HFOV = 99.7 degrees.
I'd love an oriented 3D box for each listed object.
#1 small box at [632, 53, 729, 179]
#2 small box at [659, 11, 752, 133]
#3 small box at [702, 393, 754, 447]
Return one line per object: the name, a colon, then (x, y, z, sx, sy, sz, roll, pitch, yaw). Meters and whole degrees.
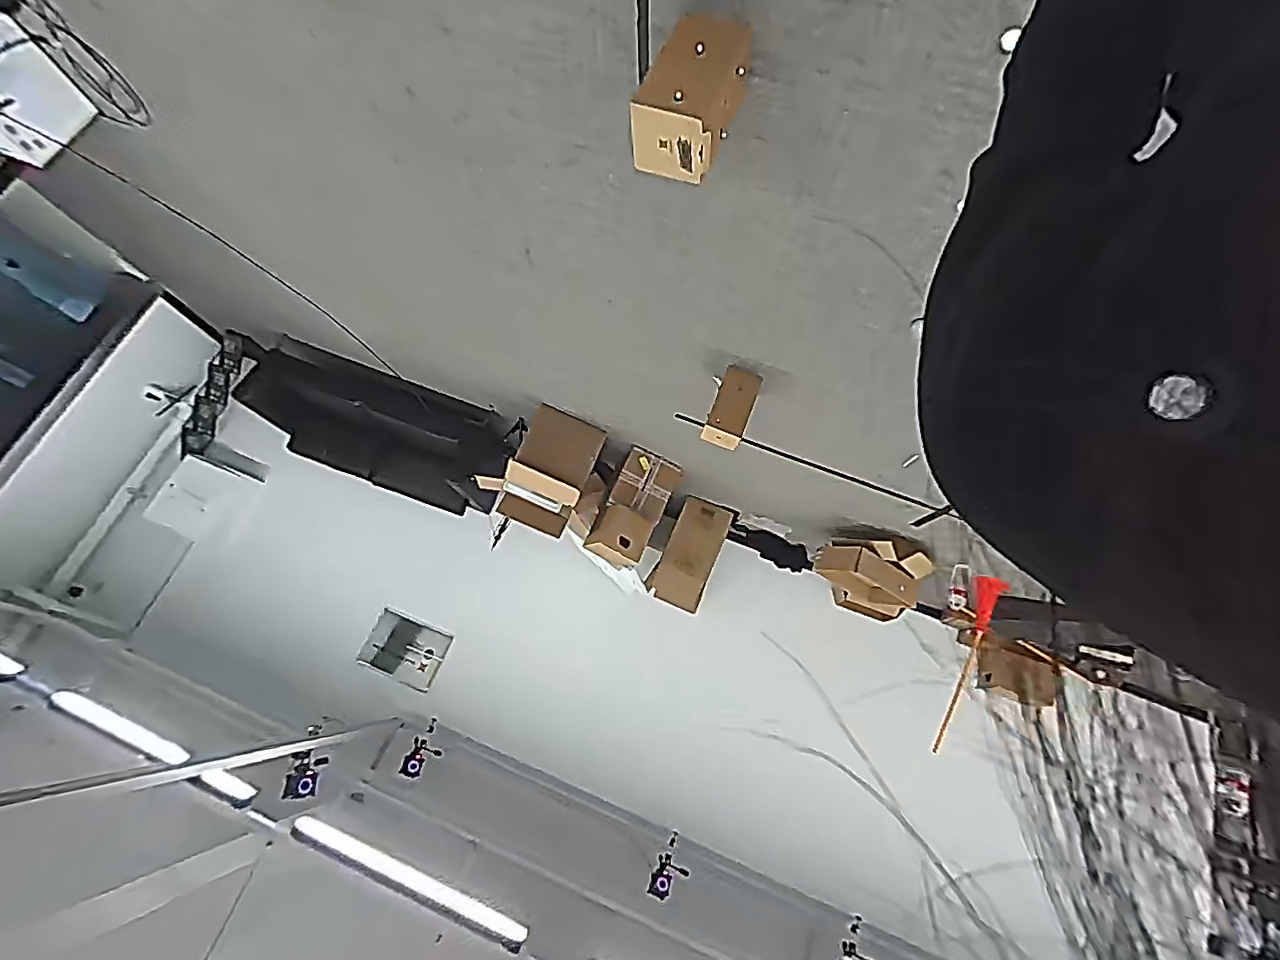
small box: (0.097, -0.846, 1.257, 0.179, 0.176, 0.168, 20, 162, 11)
small box: (0.159, -0.989, 1.311, 0.179, 0.176, 0.168, 21, 162, 12)
small box: (0.408, -0.285, 2.525, 0.179, 0.176, 0.168, 21, 164, 4)
